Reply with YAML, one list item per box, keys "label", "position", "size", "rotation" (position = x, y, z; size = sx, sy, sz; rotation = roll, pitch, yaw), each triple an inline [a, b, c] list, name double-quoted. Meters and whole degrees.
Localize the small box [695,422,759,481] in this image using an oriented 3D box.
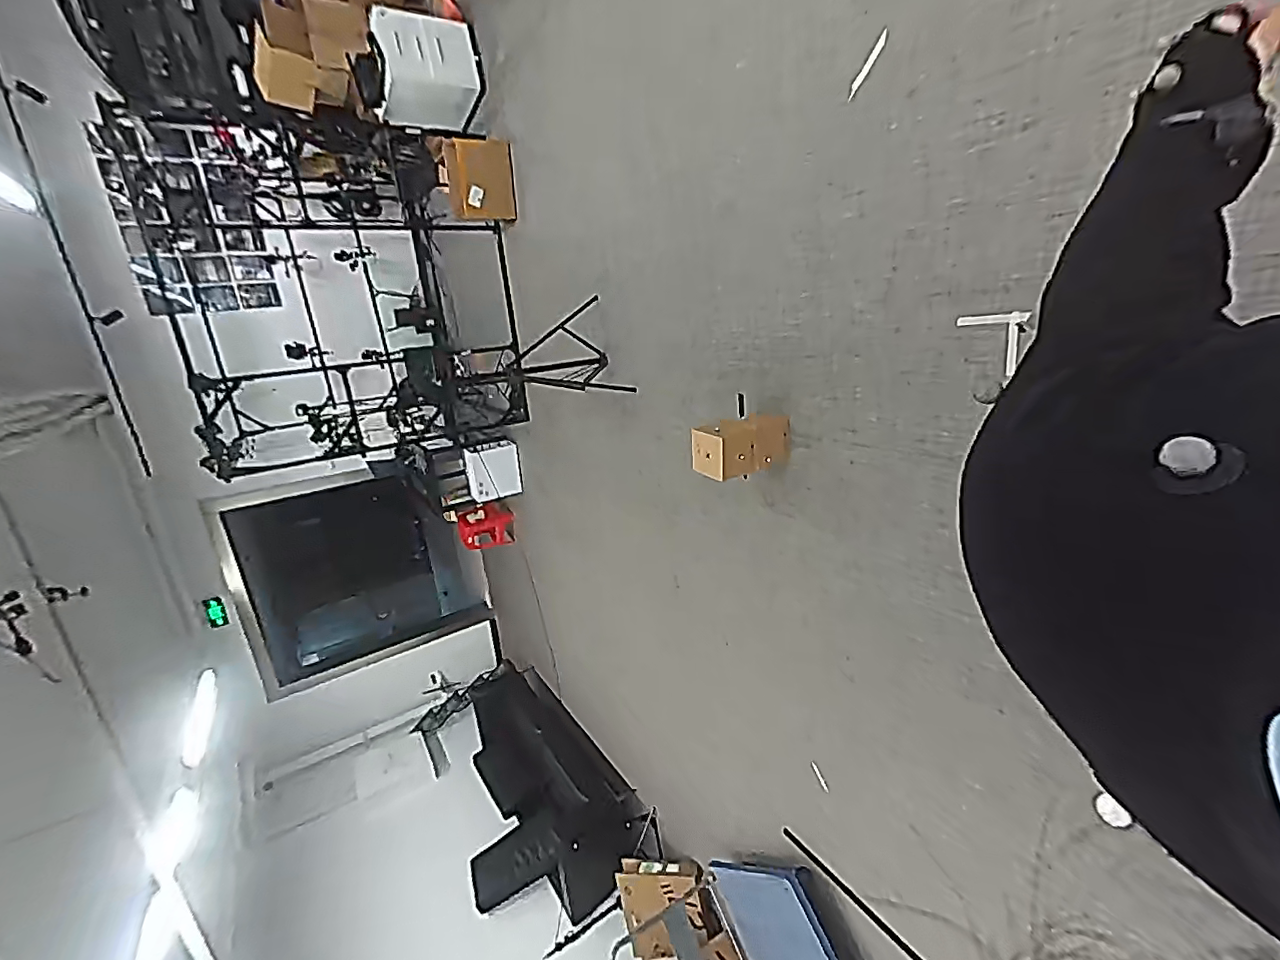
- label: "small box"
  position: [0.323, -0.112, 2.001]
  size: [0.179, 0.176, 0.168]
  rotation: [28, 127, 53]
